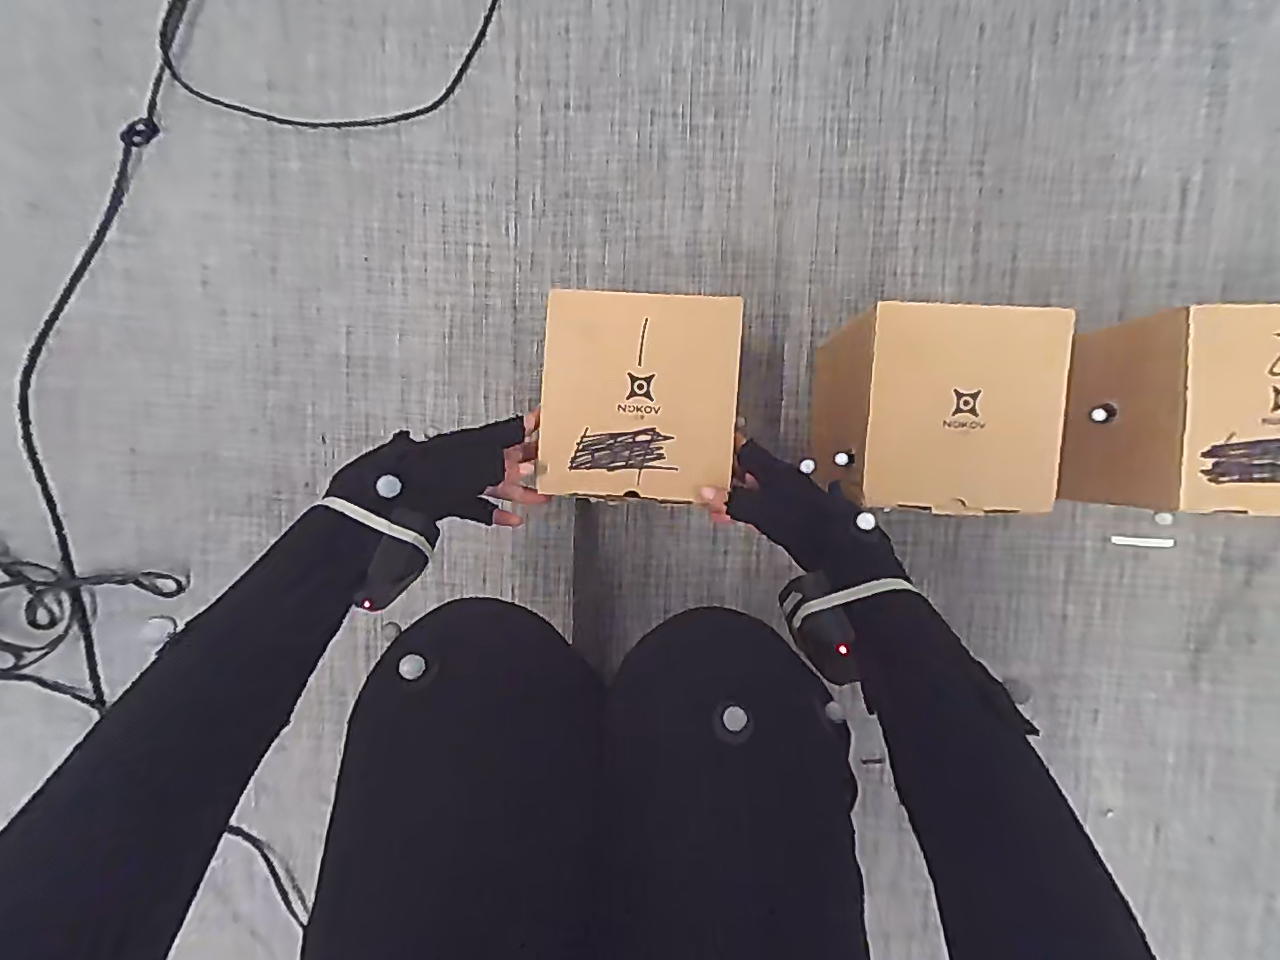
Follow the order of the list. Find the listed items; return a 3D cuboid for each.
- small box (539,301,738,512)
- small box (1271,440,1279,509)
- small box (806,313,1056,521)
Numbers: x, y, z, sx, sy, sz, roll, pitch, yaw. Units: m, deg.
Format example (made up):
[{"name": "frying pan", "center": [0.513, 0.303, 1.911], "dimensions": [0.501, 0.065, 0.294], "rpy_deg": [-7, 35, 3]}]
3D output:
[{"name": "small box", "center": [0.004, -0.066, 0.549], "dimensions": [0.168, 0.176, 0.179], "rpy_deg": [4, 91, 4]}, {"name": "small box", "center": [0.805, -0.038, 0.536], "dimensions": [0.168, 0.176, 0.179], "rpy_deg": [3, 94, 3]}, {"name": "small box", "center": [0.275, -0.058, 0.551], "dimensions": [0.168, 0.176, 0.179], "rpy_deg": [3, 94, 2]}]
